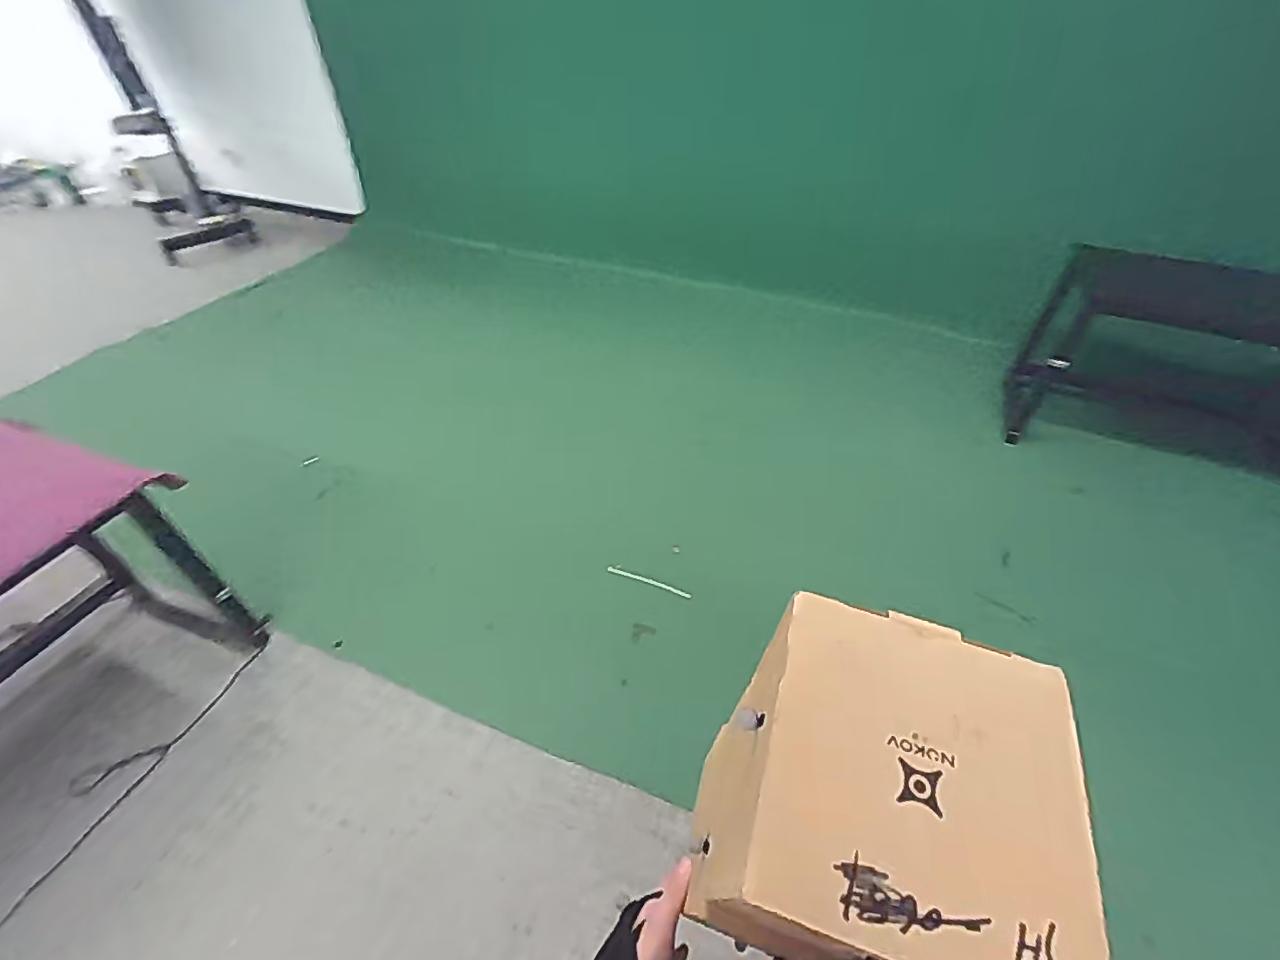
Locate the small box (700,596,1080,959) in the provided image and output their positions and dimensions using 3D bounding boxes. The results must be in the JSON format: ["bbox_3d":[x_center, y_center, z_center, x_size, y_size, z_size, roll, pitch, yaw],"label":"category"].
[{"bbox_3d":[0.142,0.211,0.359,0.168,0.176,0.179,15,53,11],"label":"small box"}]

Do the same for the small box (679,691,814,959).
[{"bbox_3d":[0.136,0.320,0.481,0.168,0.176,0.179,16,53,11],"label":"small box"}]
